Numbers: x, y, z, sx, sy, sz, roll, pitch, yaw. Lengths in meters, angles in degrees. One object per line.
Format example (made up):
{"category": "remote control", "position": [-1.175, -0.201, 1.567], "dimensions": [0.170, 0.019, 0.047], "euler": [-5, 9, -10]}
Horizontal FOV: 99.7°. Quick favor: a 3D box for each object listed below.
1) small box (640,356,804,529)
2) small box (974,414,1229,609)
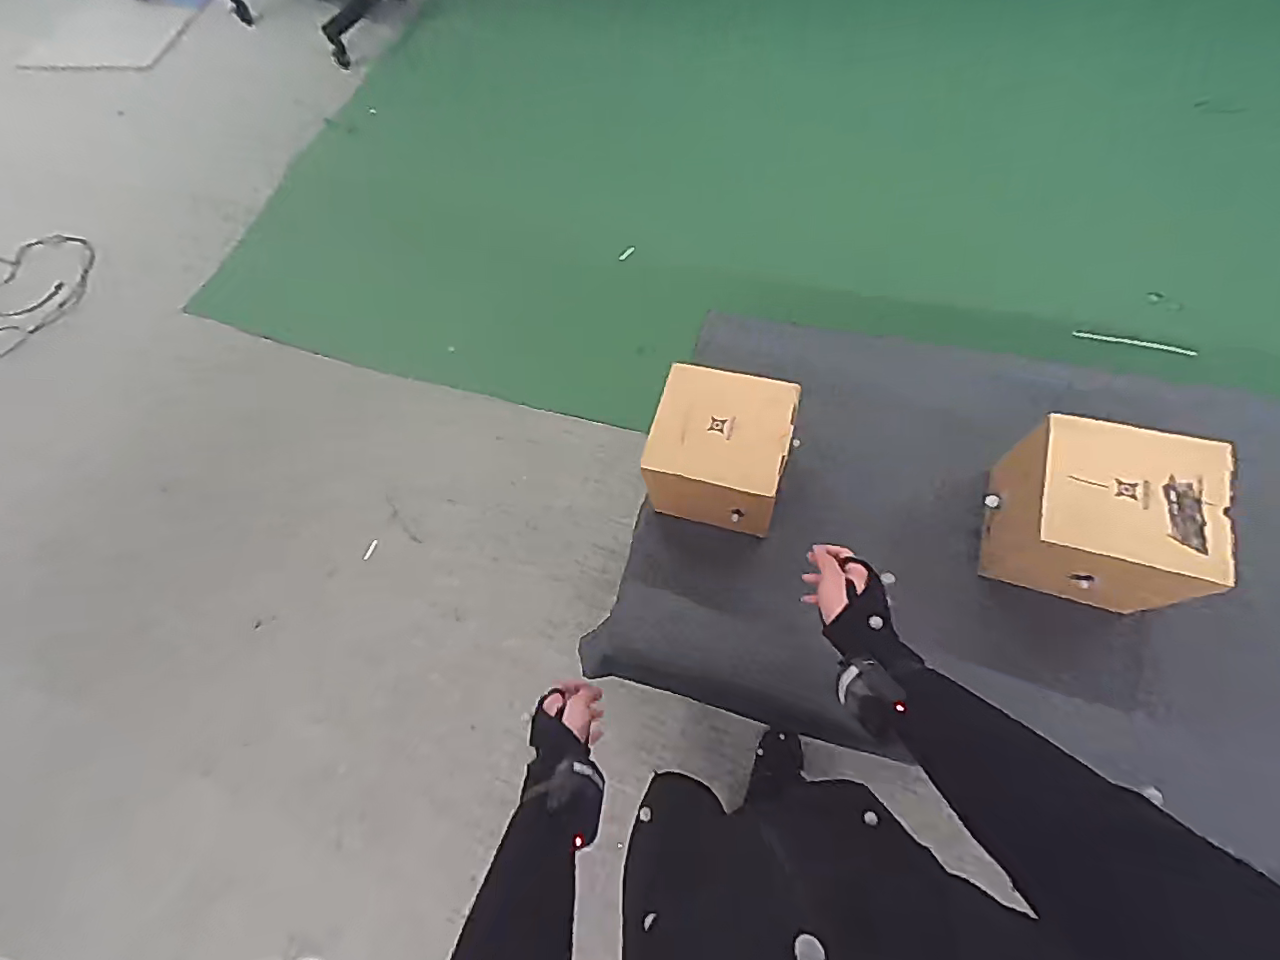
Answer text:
{"category": "small box", "position": [0.116, -0.044, 0.759], "dimensions": [0.179, 0.176, 0.168], "euler": [14, 68, 14]}
{"category": "small box", "position": [0.547, 0.047, 0.661], "dimensions": [0.179, 0.176, 0.168], "euler": [16, 70, 15]}
